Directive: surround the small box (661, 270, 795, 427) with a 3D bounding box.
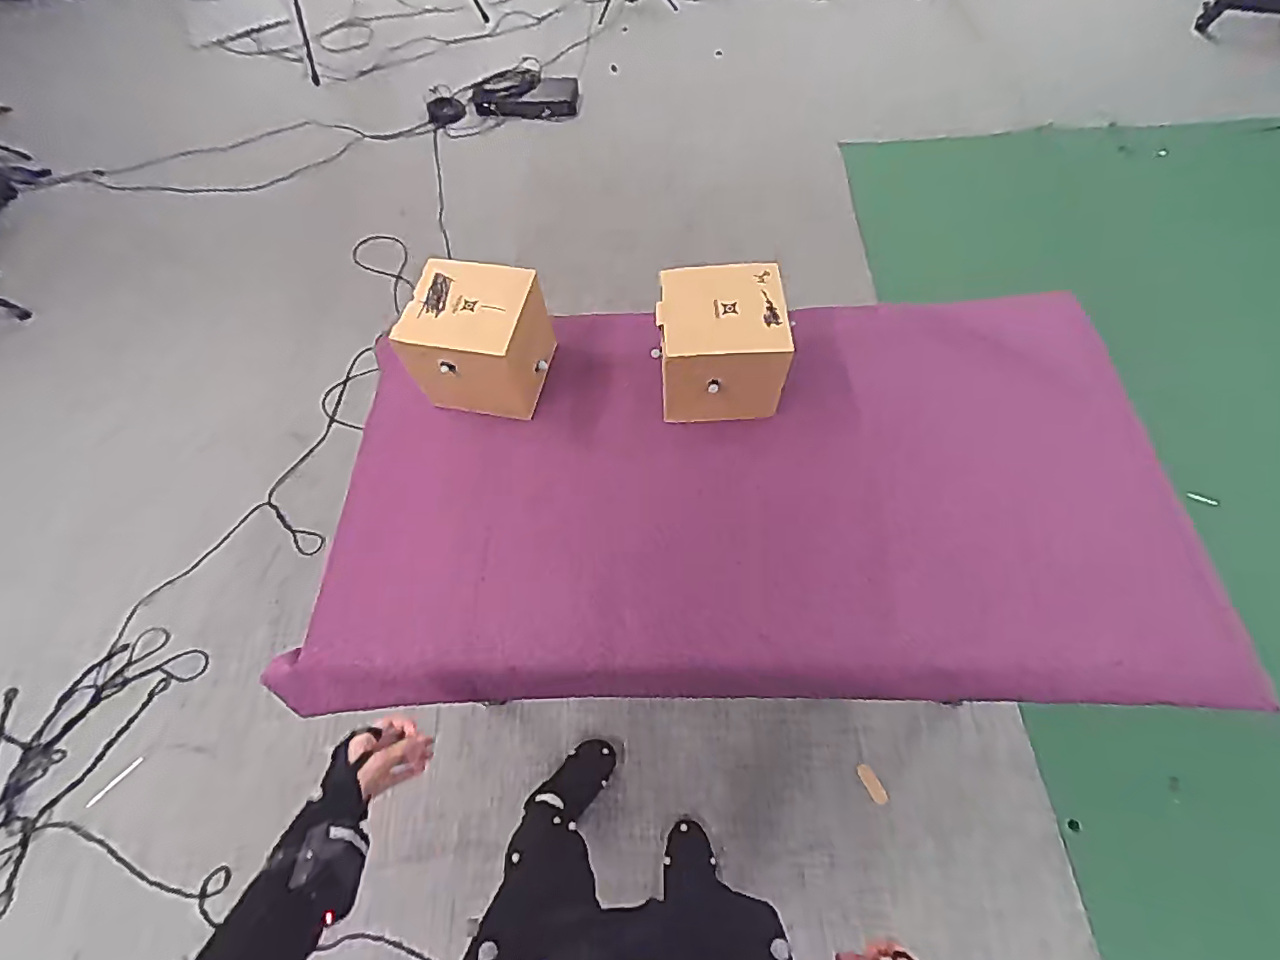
[{"bbox_3d":[0.125,-0.192,0.826,0.179,0.176,0.168,-3,64,3],"label":"small box"}]

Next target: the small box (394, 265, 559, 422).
[{"bbox_3d":[-0.243,-0.209,0.853,0.179,0.176,0.168,9,64,7],"label":"small box"}]
